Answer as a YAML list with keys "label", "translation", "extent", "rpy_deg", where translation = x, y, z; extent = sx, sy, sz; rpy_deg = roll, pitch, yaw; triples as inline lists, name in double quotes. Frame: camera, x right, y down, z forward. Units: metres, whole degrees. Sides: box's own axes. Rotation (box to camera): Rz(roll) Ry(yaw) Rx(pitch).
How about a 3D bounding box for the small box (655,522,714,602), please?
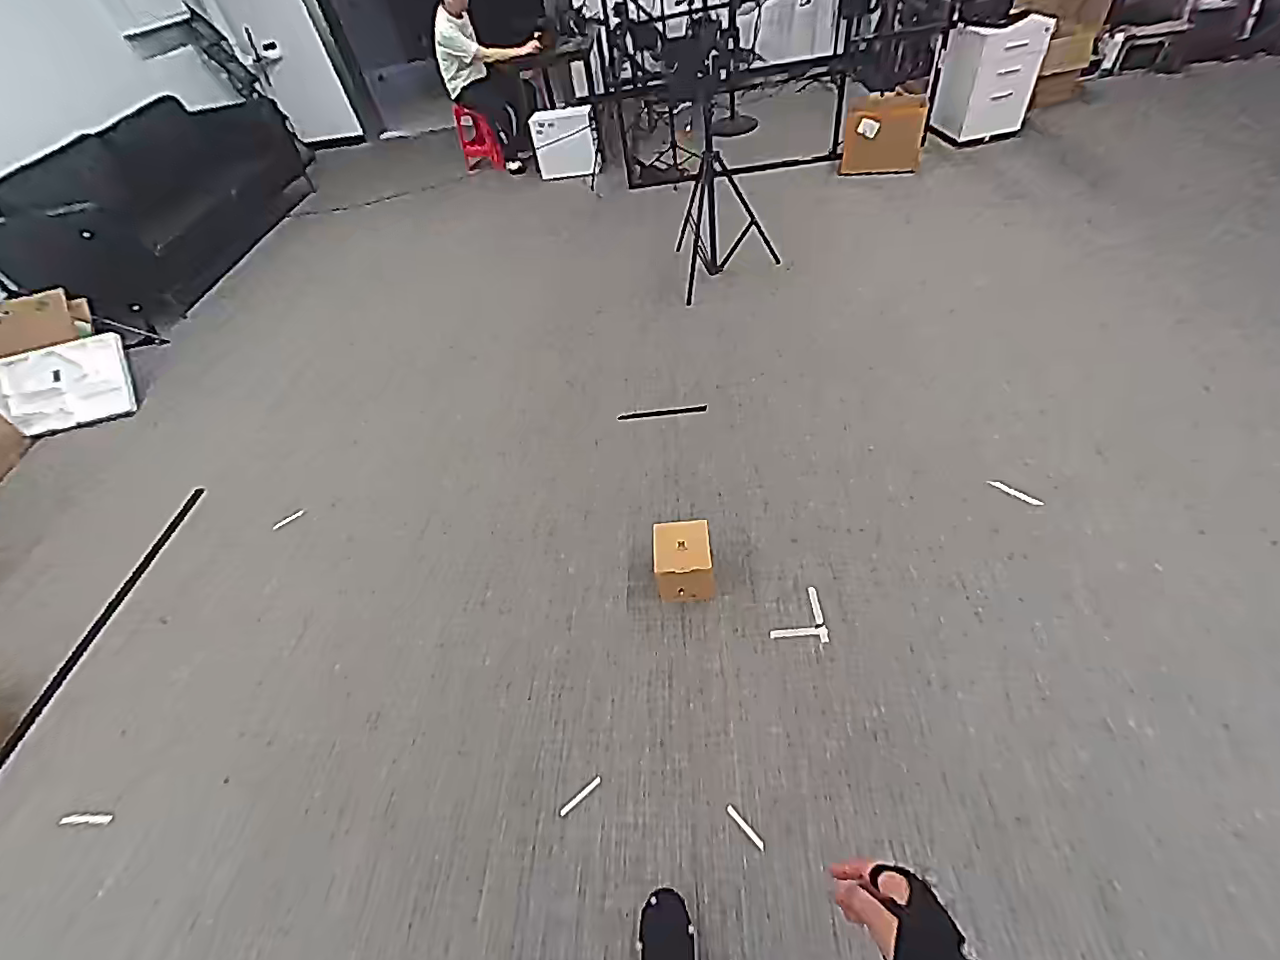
- label: "small box"
  translation: [0.134, 0.250, 1.642]
  extent: [0.168, 0.176, 0.179]
  rpy_deg: [-6, 48, 5]
